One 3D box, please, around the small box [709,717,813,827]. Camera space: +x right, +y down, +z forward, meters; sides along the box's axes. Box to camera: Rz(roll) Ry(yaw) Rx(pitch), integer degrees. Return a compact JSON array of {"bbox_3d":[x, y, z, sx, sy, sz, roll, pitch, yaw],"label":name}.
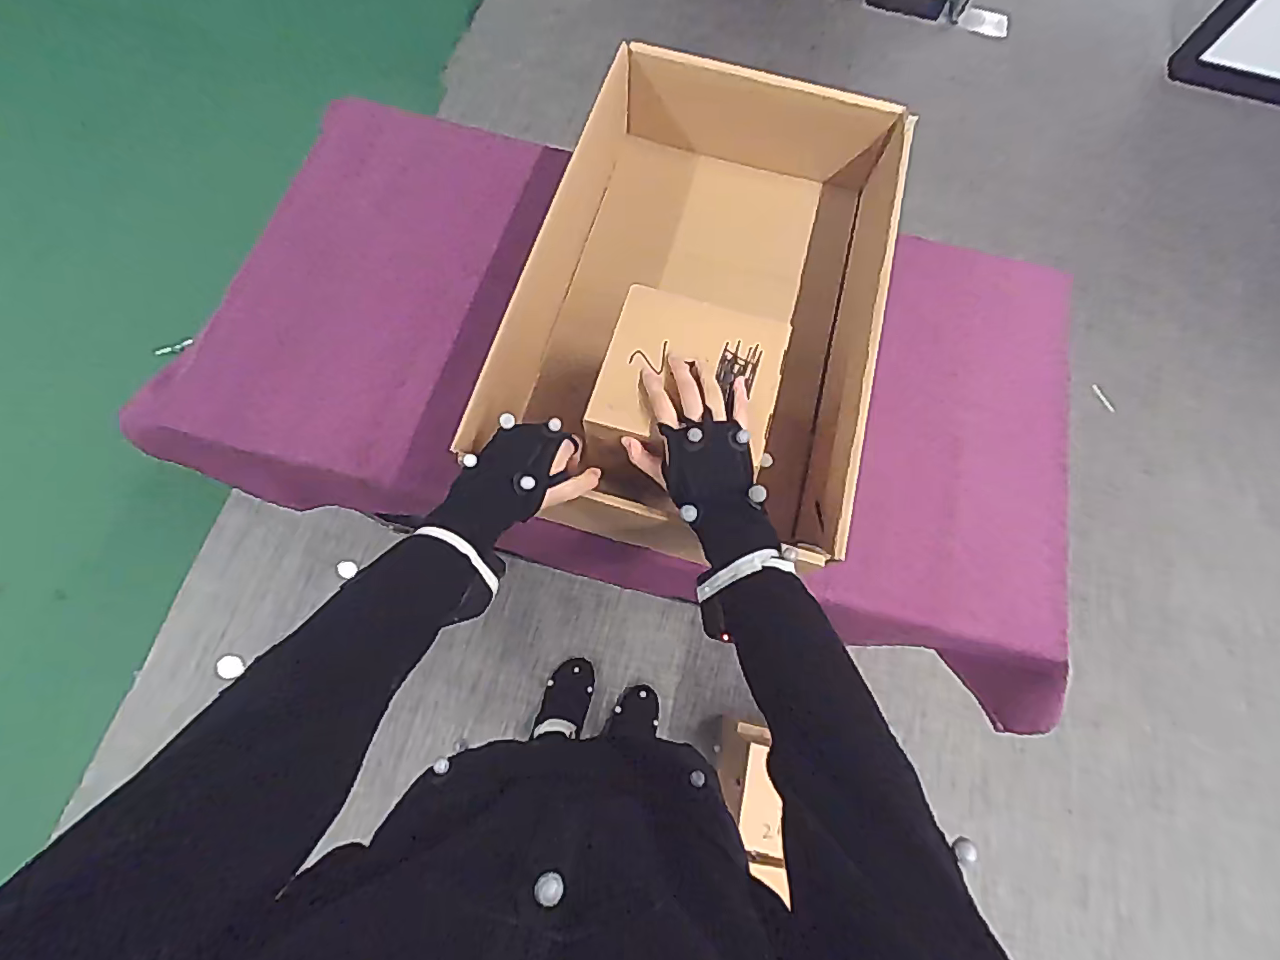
[{"bbox_3d":[0.266,0.644,1.217,0.179,0.176,0.168,14,72,2],"label":"small box"}]
